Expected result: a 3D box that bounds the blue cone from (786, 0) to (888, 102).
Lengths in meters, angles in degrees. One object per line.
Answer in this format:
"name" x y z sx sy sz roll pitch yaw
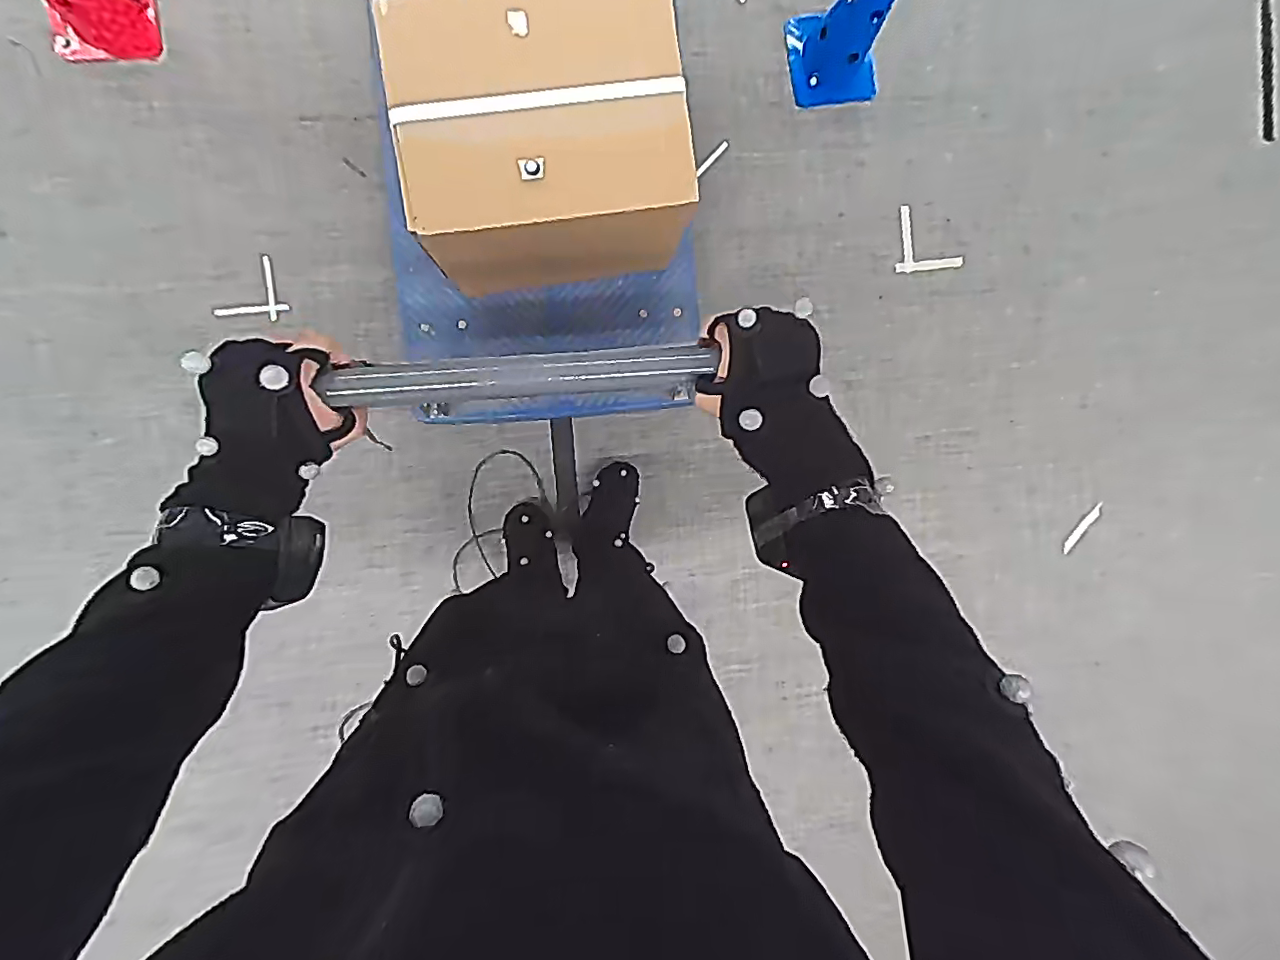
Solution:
"blue cone" 0.458 -0.973 1.096 0.193 0.380 0.192 -9 93 -5
